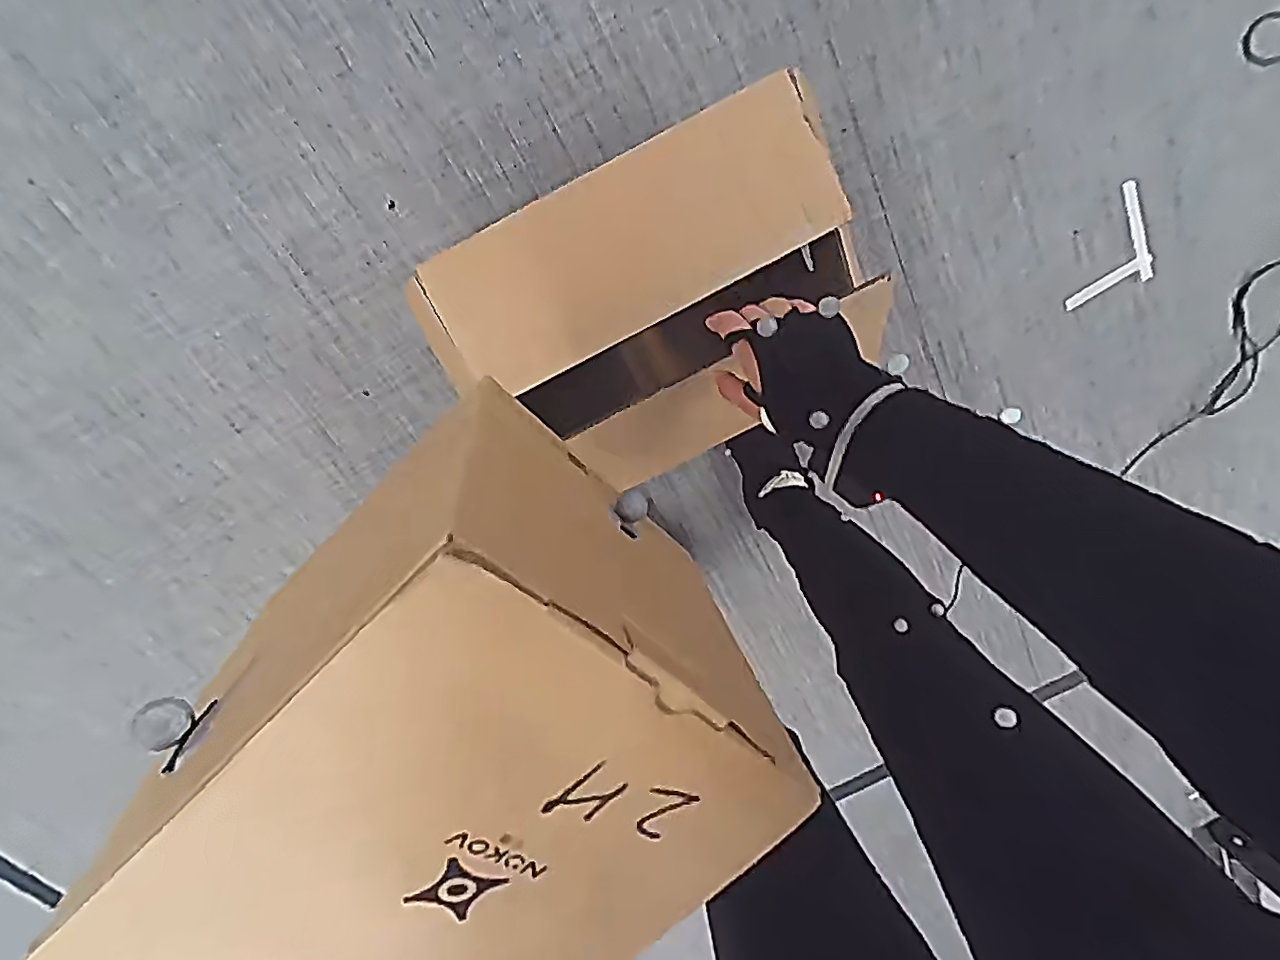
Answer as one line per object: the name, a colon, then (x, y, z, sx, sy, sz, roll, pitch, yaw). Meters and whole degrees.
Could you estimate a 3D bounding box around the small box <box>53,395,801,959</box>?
small box: (-0.070, 0.090, 0.247, 0.179, 0.176, 0.168, -43, 116, 7)
